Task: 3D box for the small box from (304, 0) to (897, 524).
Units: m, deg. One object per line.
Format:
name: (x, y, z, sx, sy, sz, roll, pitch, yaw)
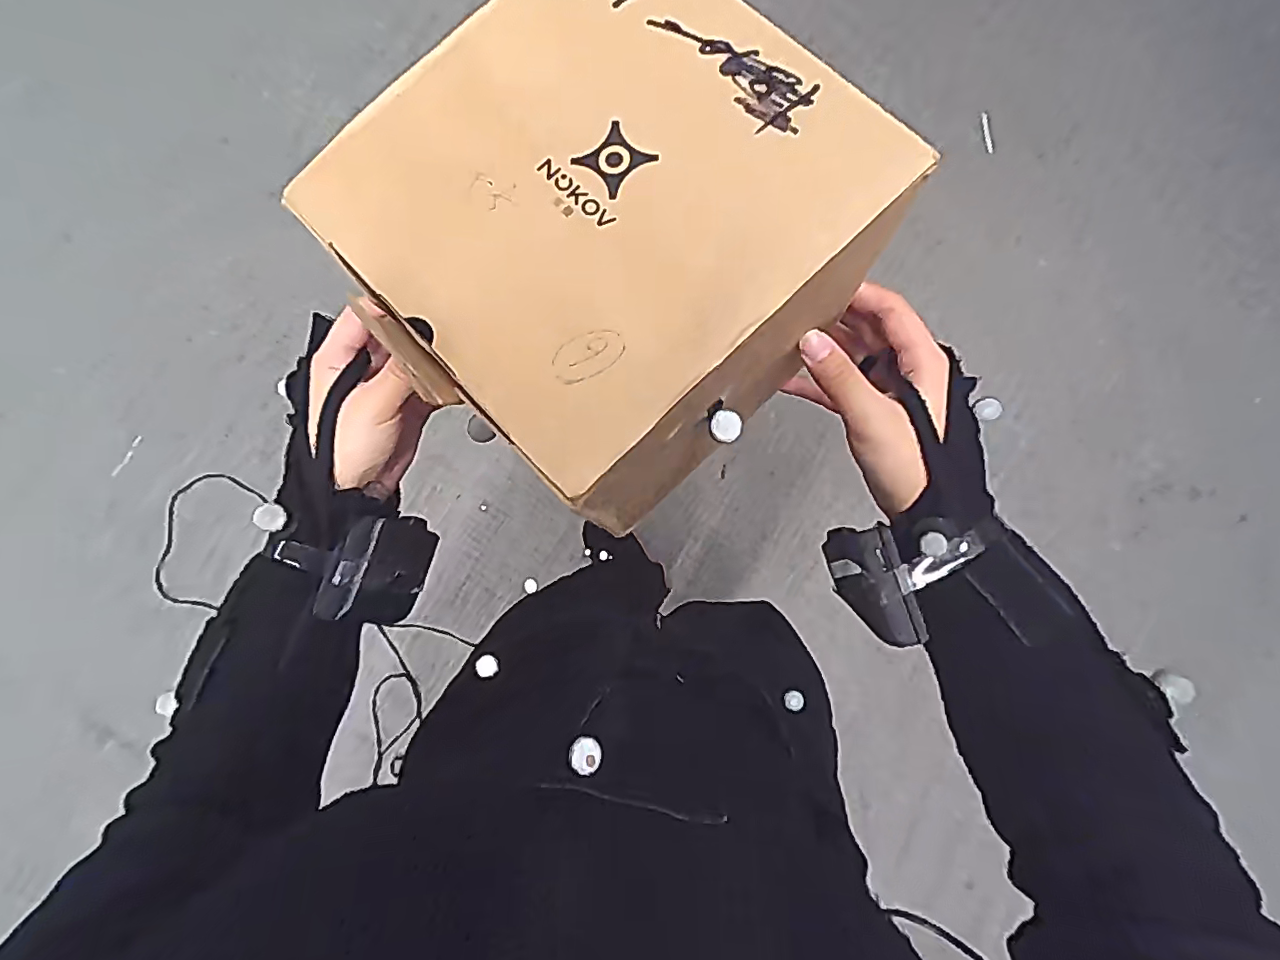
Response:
small box: (-0.013, -0.092, 0.285, 0.179, 0.176, 0.168, -44, 81, -3)
